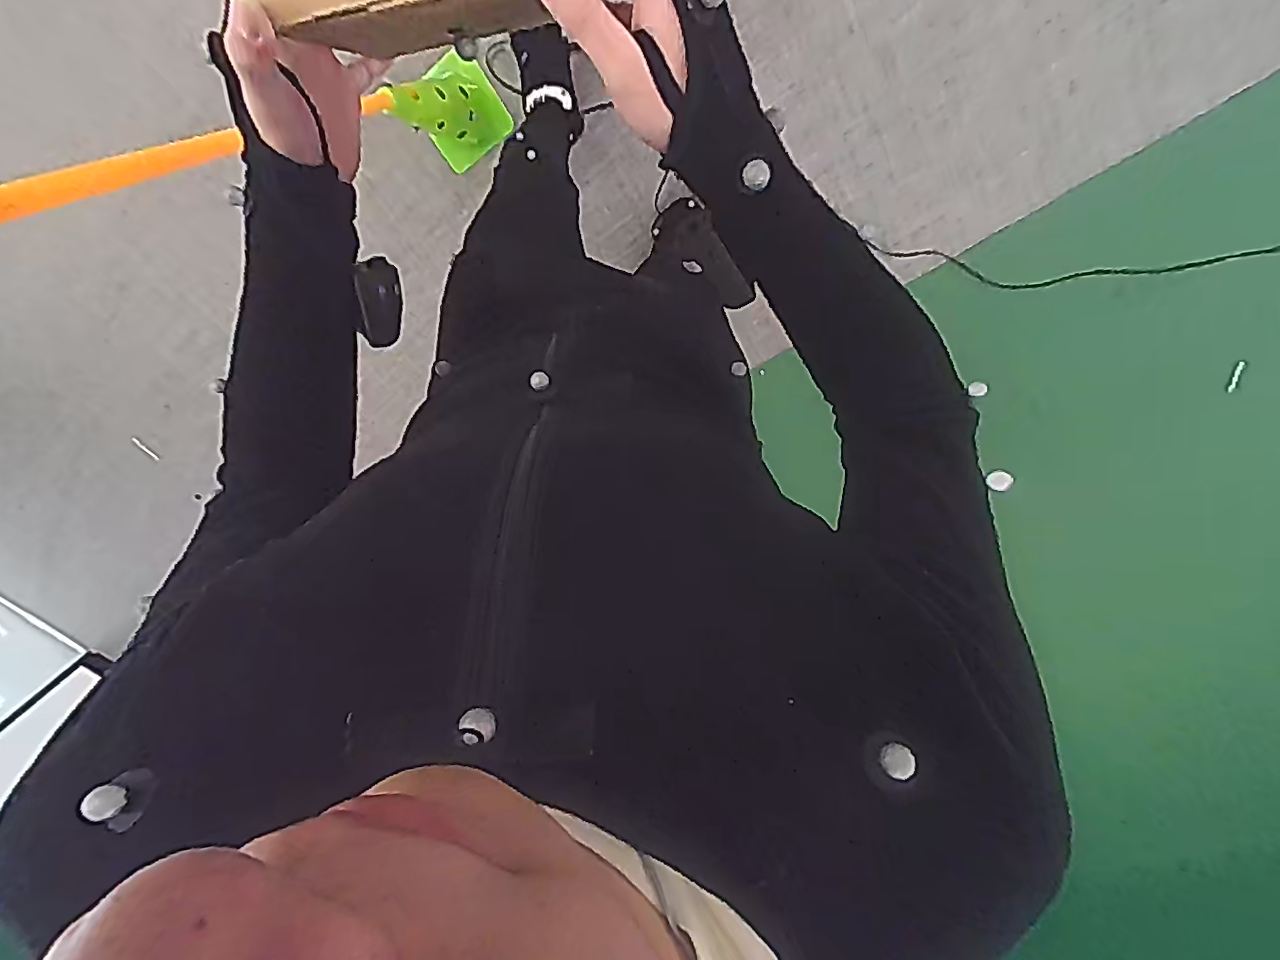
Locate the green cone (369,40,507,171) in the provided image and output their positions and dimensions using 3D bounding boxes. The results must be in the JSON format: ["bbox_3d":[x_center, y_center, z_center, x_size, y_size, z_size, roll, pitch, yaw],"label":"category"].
[{"bbox_3d":[-0.455,-0.784,1.124,0.202,0.368,0.200,-27,115,20],"label":"green cone"}]
